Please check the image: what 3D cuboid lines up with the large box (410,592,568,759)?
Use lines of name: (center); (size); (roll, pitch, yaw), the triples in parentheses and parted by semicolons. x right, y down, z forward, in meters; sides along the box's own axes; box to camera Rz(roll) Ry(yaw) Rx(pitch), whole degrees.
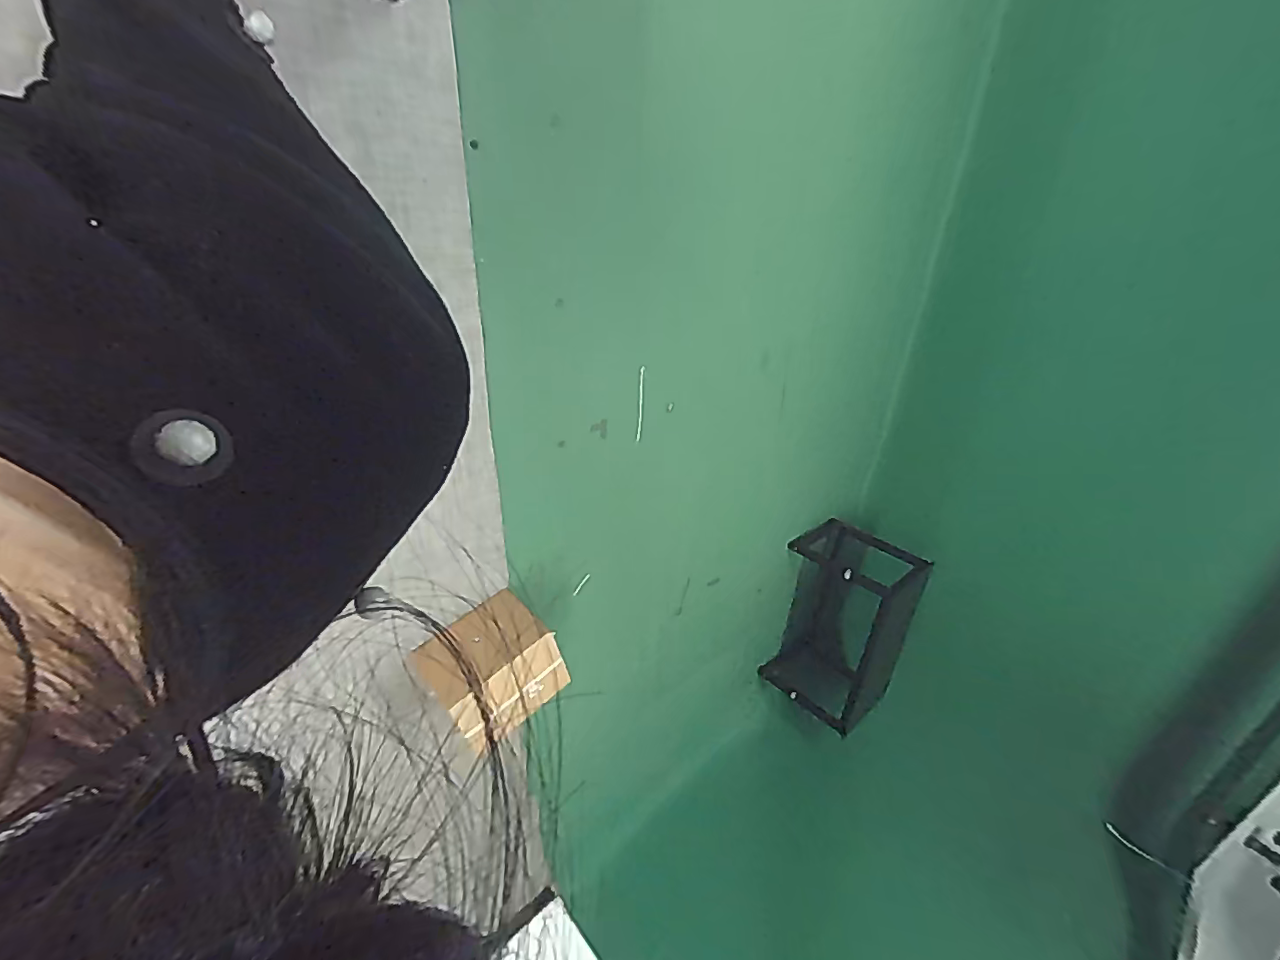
large box: (-0.537, 0.690, 1.954); (0.408, 0.320, 0.320); (-35, 134, -29)
